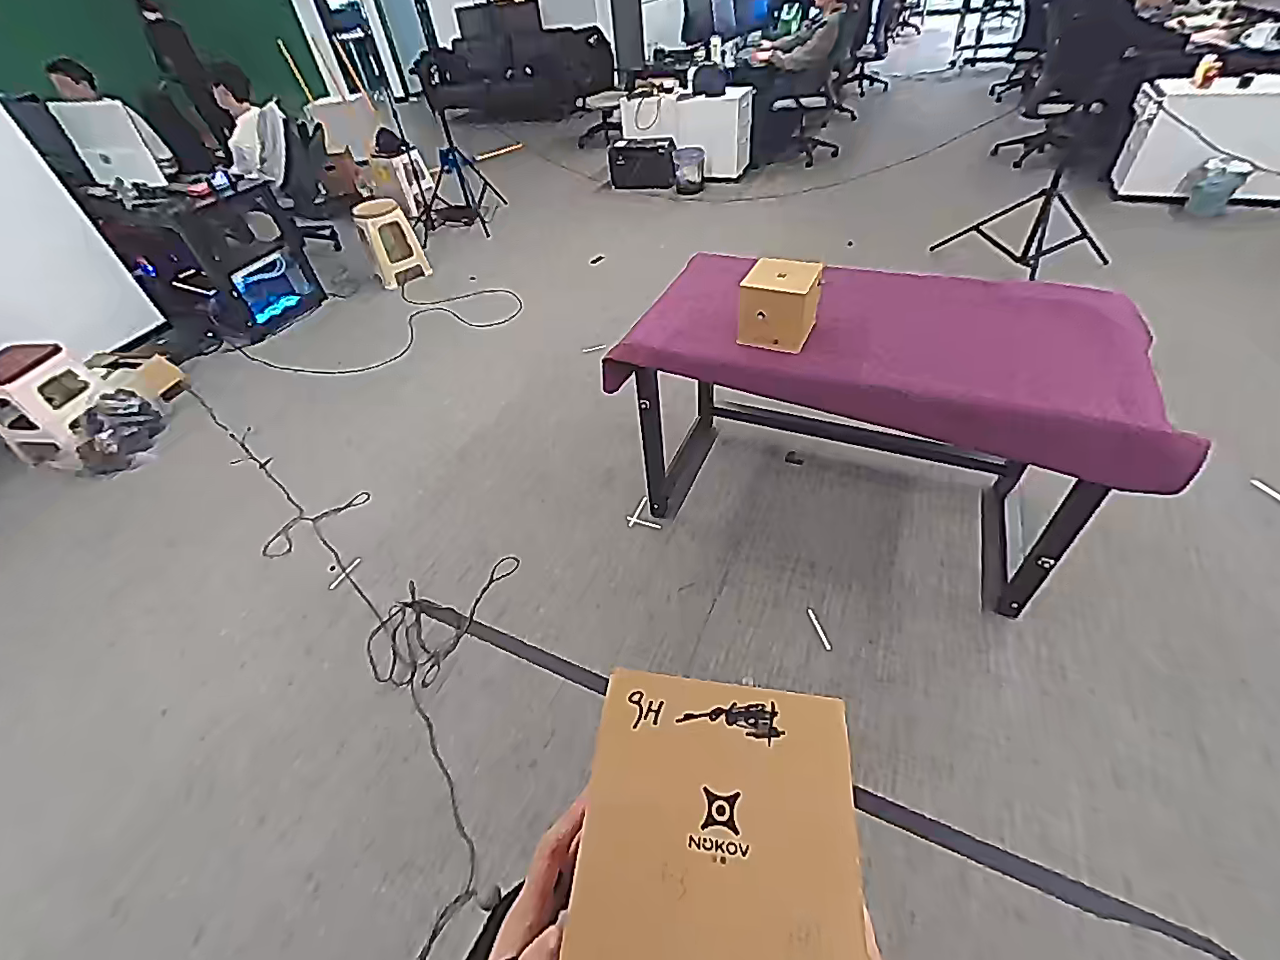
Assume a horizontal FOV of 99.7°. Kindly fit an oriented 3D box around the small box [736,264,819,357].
[{"bbox_3d":[0.356,-0.442,1.410,0.168,0.176,0.179,16,48,21],"label":"small box"}]

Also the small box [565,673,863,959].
[{"bbox_3d":[0.053,0.265,0.398,0.168,0.176,0.179,6,53,6],"label":"small box"}]
